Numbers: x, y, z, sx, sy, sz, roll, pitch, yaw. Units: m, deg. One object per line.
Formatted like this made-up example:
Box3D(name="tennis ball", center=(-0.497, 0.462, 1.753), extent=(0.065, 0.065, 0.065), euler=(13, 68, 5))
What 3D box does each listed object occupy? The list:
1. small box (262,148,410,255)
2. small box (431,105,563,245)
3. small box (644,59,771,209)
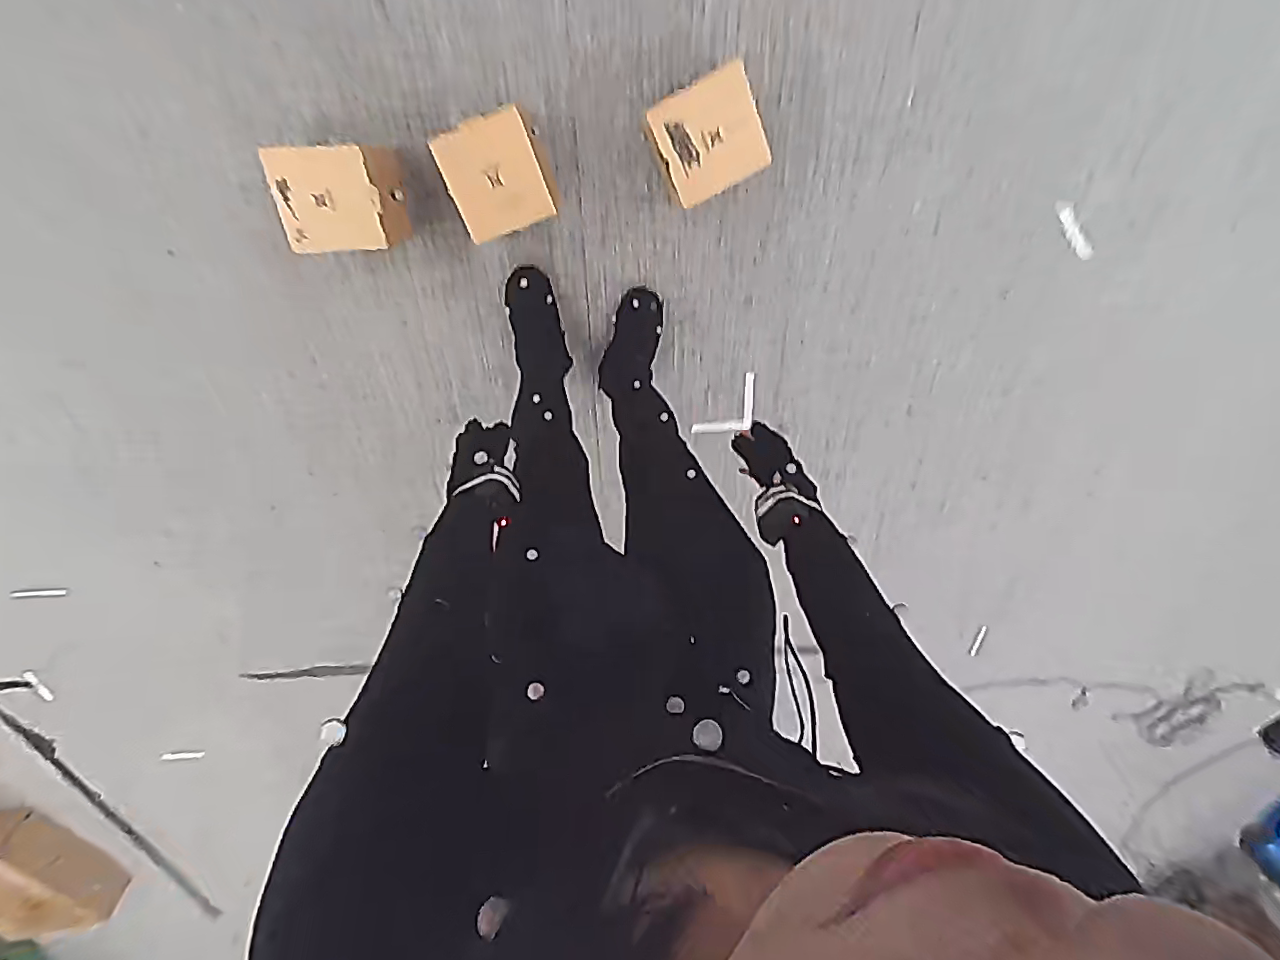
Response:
Box3D(name="small box", center=(-0.549, -0.525, 1.012), extent=(0.179, 0.176, 0.168), euler=(-3, 121, -2))
Box3D(name="small box", center=(-0.254, -0.564, 1.007), extent=(0.168, 0.176, 0.179), euler=(-18, 121, 8))
Box3D(name="small box", center=(0.115, -0.623, 0.992), extent=(0.179, 0.176, 0.168), euler=(-25, 120, 10))
